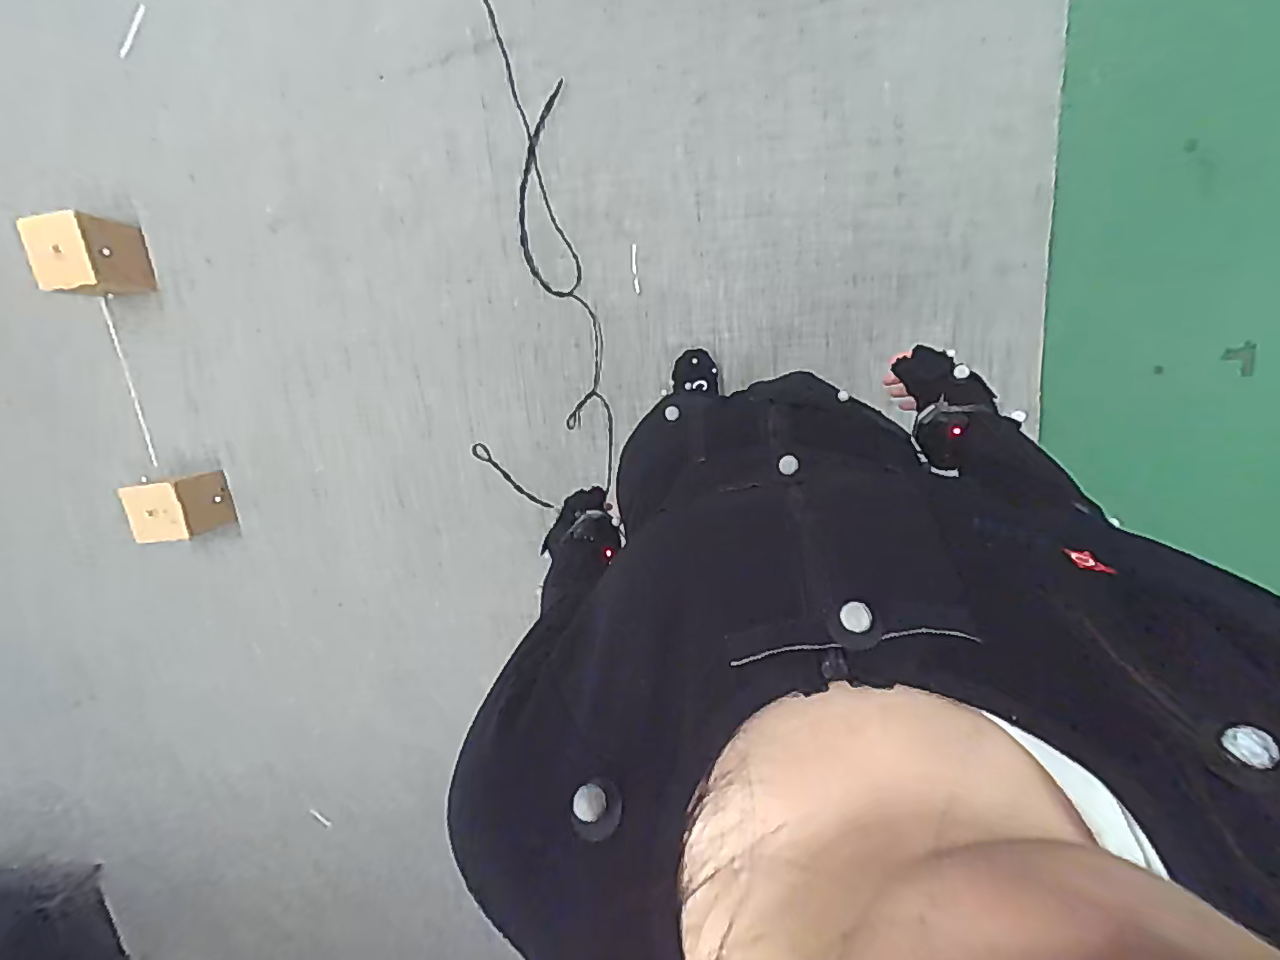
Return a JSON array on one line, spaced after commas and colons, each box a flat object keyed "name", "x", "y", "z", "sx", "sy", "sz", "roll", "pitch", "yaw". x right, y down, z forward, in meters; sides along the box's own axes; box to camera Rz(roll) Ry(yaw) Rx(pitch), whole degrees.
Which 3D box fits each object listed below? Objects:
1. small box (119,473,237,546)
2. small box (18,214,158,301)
[{"name": "small box", "x": -1.335, "y": 0.083, "z": 1.573, "sx": 0.179, "sy": 0.176, "sz": 0.168, "roll": -6, "pitch": 104, "yaw": 7}, {"name": "small box", "x": -1.436, "y": -0.577, "z": 1.418, "sx": 0.168, "sy": 0.176, "sz": 0.179, "roll": -6, "pitch": 104, "yaw": 6}]
